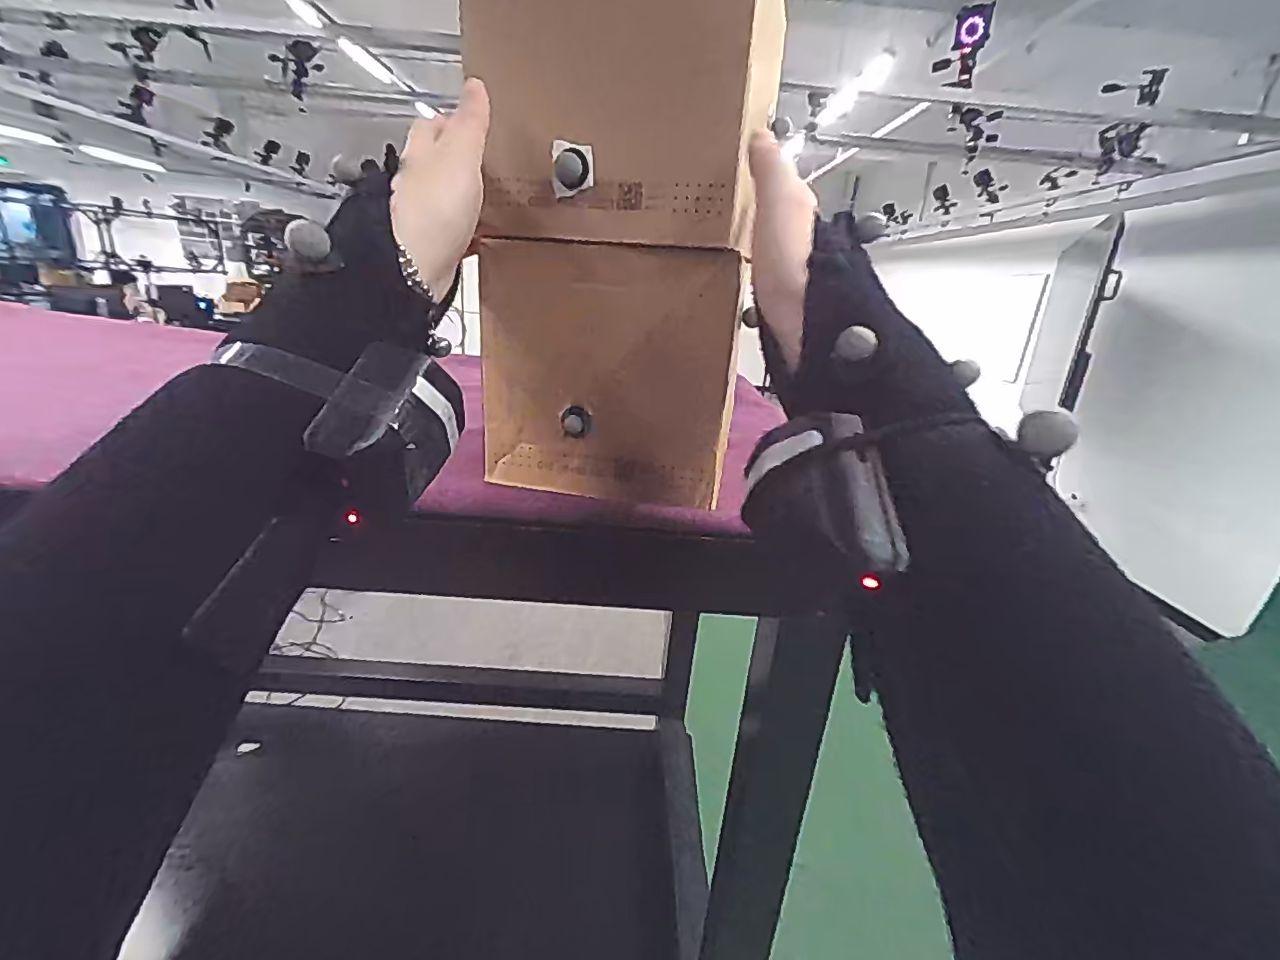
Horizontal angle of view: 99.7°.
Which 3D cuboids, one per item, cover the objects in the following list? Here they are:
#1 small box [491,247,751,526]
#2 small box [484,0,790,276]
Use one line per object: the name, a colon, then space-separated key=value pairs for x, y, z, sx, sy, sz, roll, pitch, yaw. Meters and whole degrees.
small box: x=-0.007 y=-0.082 z=0.428 sx=0.168 sy=0.176 sz=0.179 roll=7 pitch=21 yaw=9
small box: x=0.005 y=-0.231 z=0.366 sx=0.168 sy=0.176 sz=0.179 roll=7 pitch=21 yaw=13
